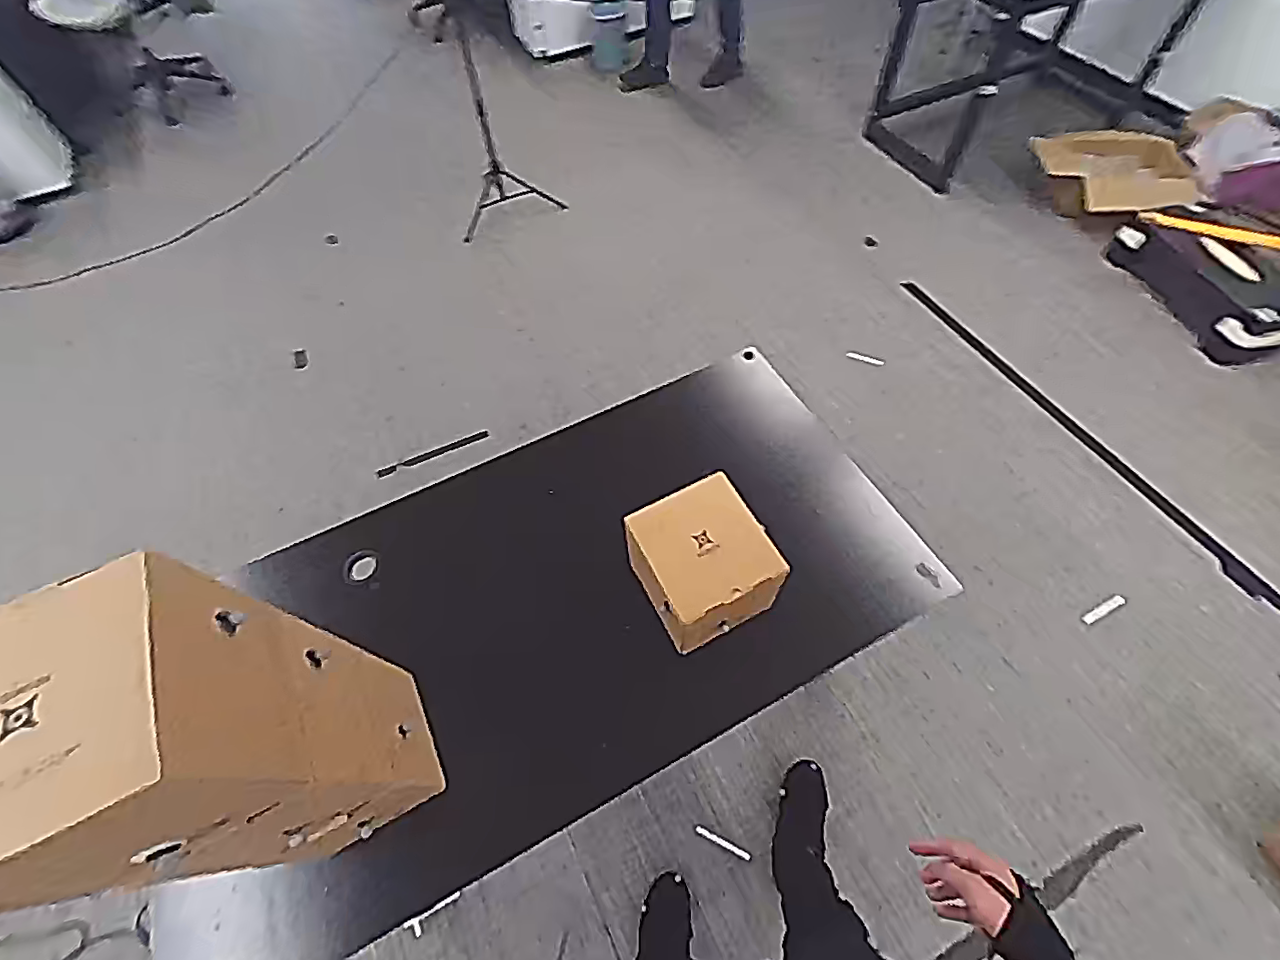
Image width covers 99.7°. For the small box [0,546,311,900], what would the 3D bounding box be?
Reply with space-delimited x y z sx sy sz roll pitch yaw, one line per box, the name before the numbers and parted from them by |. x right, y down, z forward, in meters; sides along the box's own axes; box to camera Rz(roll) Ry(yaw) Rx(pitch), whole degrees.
small box | -0.389 0.185 0.412 0.168 0.176 0.179 -27 63 -11

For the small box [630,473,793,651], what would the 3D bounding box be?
small box | 0.095 0.127 0.807 0.168 0.176 0.179 -25 62 -12

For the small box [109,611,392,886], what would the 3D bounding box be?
small box | -0.384 0.267 0.552 0.168 0.176 0.179 -26 62 -12

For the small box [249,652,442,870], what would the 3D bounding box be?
small box | -0.378 0.352 0.693 0.168 0.176 0.179 -26 63 -13
